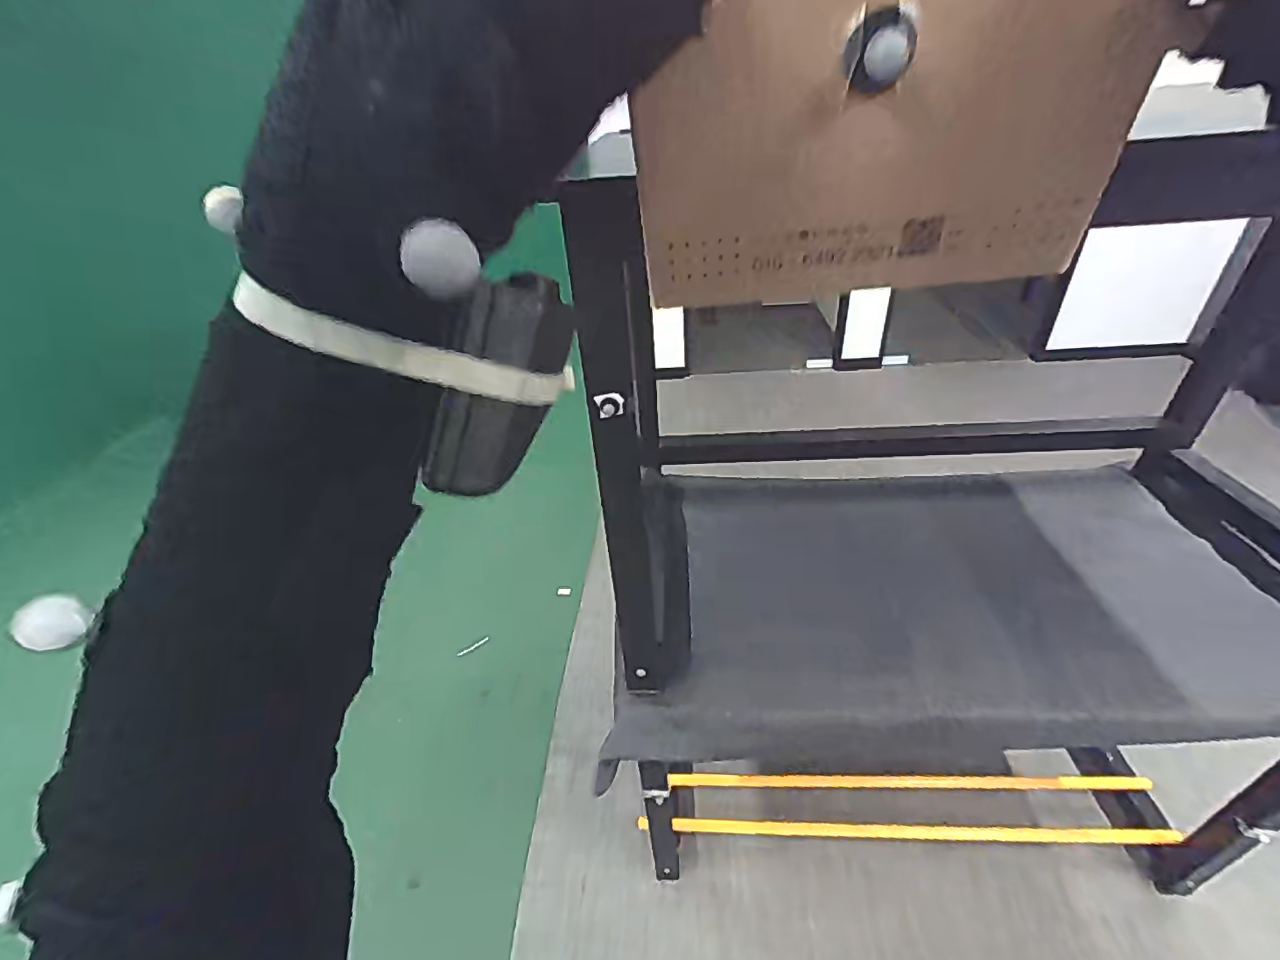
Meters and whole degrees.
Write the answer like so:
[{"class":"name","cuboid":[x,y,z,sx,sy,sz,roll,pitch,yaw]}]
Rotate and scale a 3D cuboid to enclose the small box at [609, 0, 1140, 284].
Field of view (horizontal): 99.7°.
[{"class":"small box","cuboid":[0.077,-0.194,0.228,0.168,0.176,0.179,-4,44,6]}]
